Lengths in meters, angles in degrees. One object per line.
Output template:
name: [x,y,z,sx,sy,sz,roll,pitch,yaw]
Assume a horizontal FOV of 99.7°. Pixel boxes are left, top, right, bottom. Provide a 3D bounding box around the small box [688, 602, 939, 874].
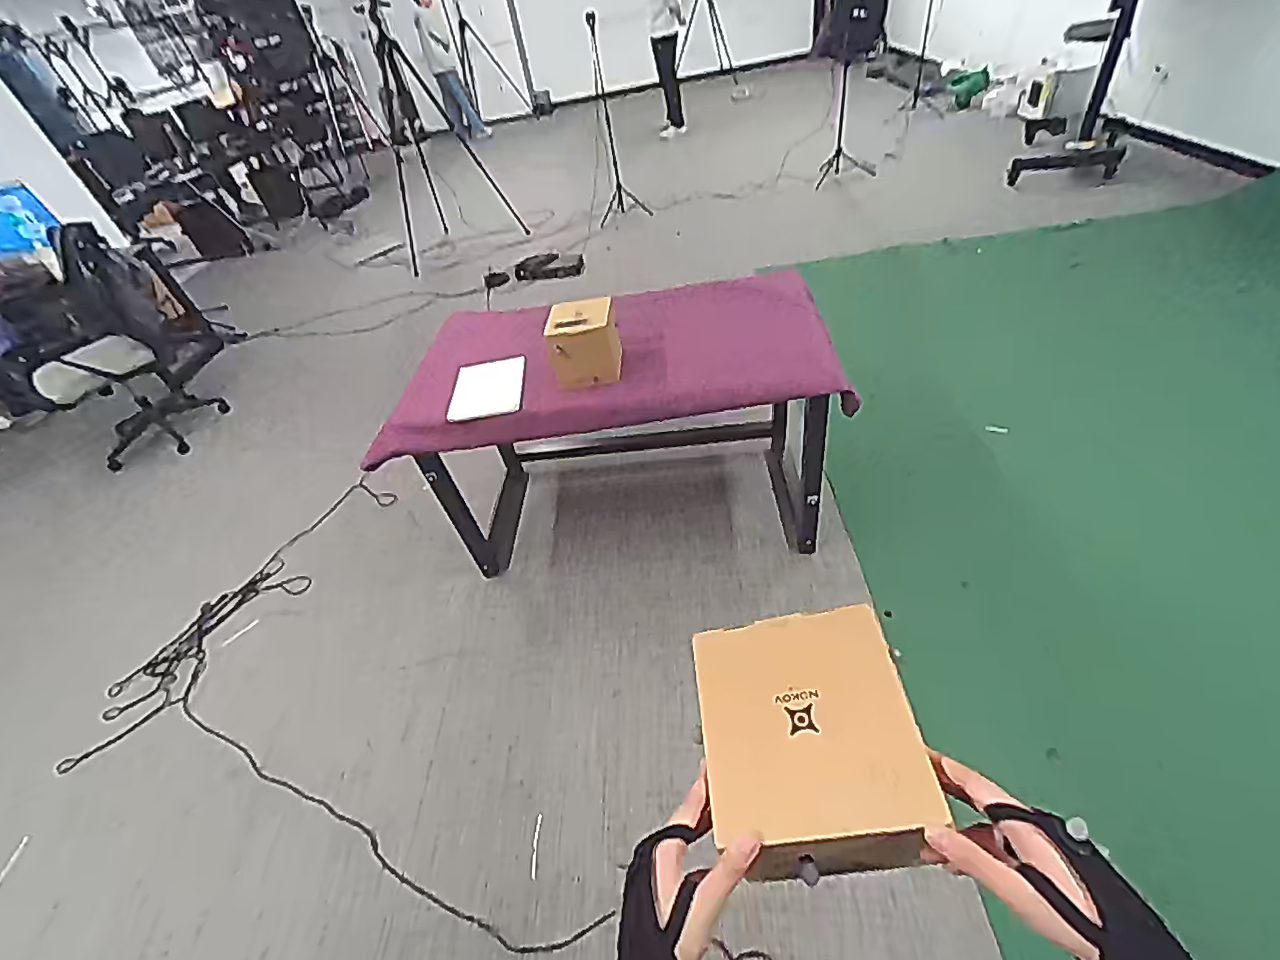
small box: [0.150,0.242,0.495,0.168,0.176,0.179,-14,44,10]
